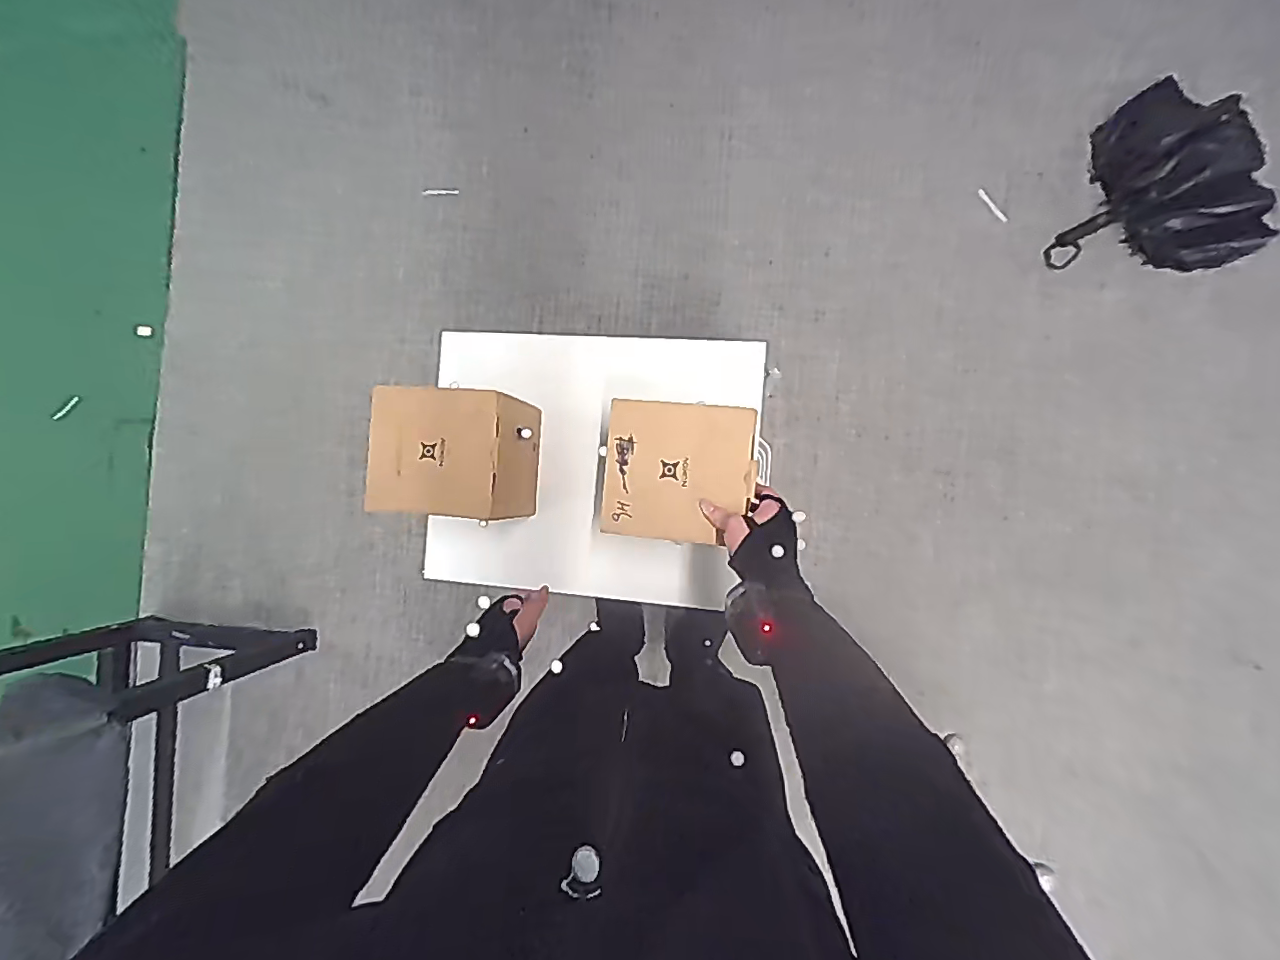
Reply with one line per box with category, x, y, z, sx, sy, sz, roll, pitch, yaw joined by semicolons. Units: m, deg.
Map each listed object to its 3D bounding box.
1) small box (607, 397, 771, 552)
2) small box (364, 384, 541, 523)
small box;0.064;-0.005;0.706;0.179;0.176;0.168;6;88;6
small box;-0.243;-0.031;0.745;0.179;0.176;0.168;3;87;7
